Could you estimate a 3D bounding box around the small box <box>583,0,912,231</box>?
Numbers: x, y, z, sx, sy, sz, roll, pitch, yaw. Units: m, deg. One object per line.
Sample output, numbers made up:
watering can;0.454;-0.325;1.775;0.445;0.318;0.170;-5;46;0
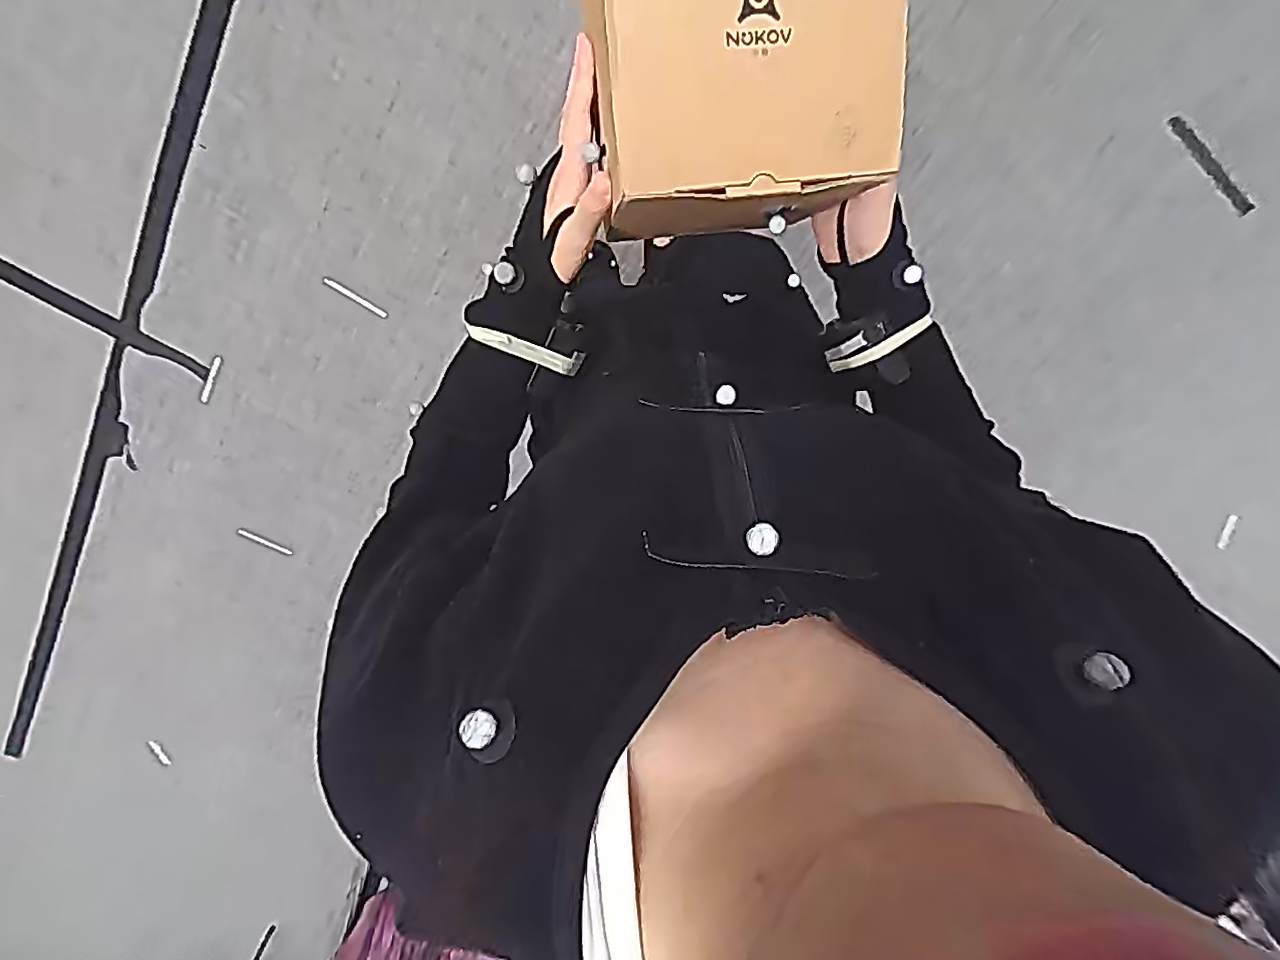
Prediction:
small box;0.054;-0.272;0.356;0.168;0.176;0.179;-8;106;-5
